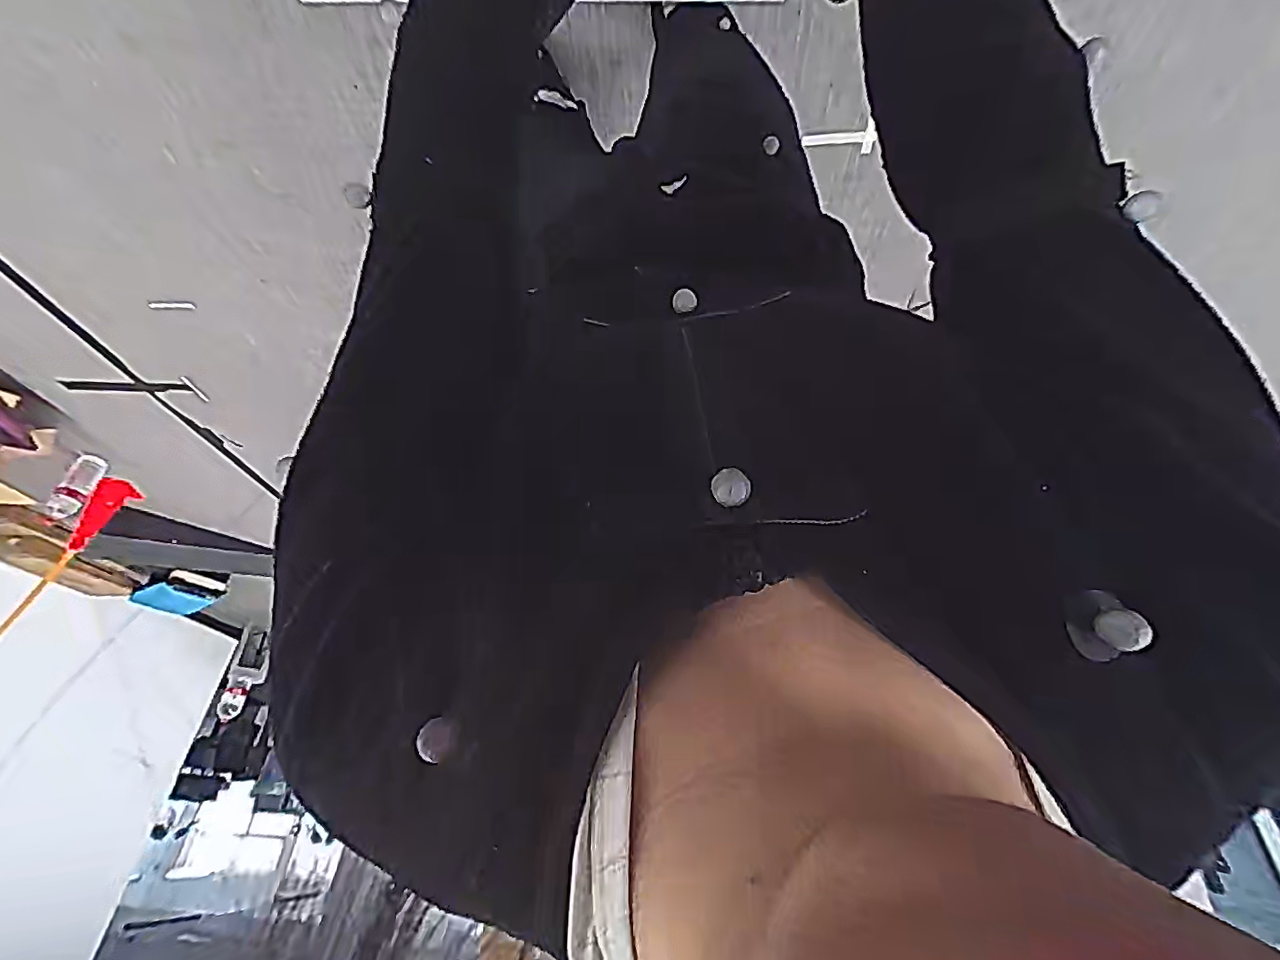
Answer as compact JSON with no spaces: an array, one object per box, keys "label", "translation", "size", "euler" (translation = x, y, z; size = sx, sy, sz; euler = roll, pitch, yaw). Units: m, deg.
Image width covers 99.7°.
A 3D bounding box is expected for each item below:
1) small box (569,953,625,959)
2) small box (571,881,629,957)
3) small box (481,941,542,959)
[{"label":"small box","translation":[-0.135,1.556,1.672],"size":[0.168,0.176,0.179],"euler":[1,148,3]},{"label":"small box","translation":[-0.125,1.417,1.754],"size":[0.168,0.176,0.179],"euler":[1,150,4]},{"label":"small box","translation":[-0.409,1.551,1.688],"size":[0.168,0.176,0.179],"euler":[2,148,2]}]
